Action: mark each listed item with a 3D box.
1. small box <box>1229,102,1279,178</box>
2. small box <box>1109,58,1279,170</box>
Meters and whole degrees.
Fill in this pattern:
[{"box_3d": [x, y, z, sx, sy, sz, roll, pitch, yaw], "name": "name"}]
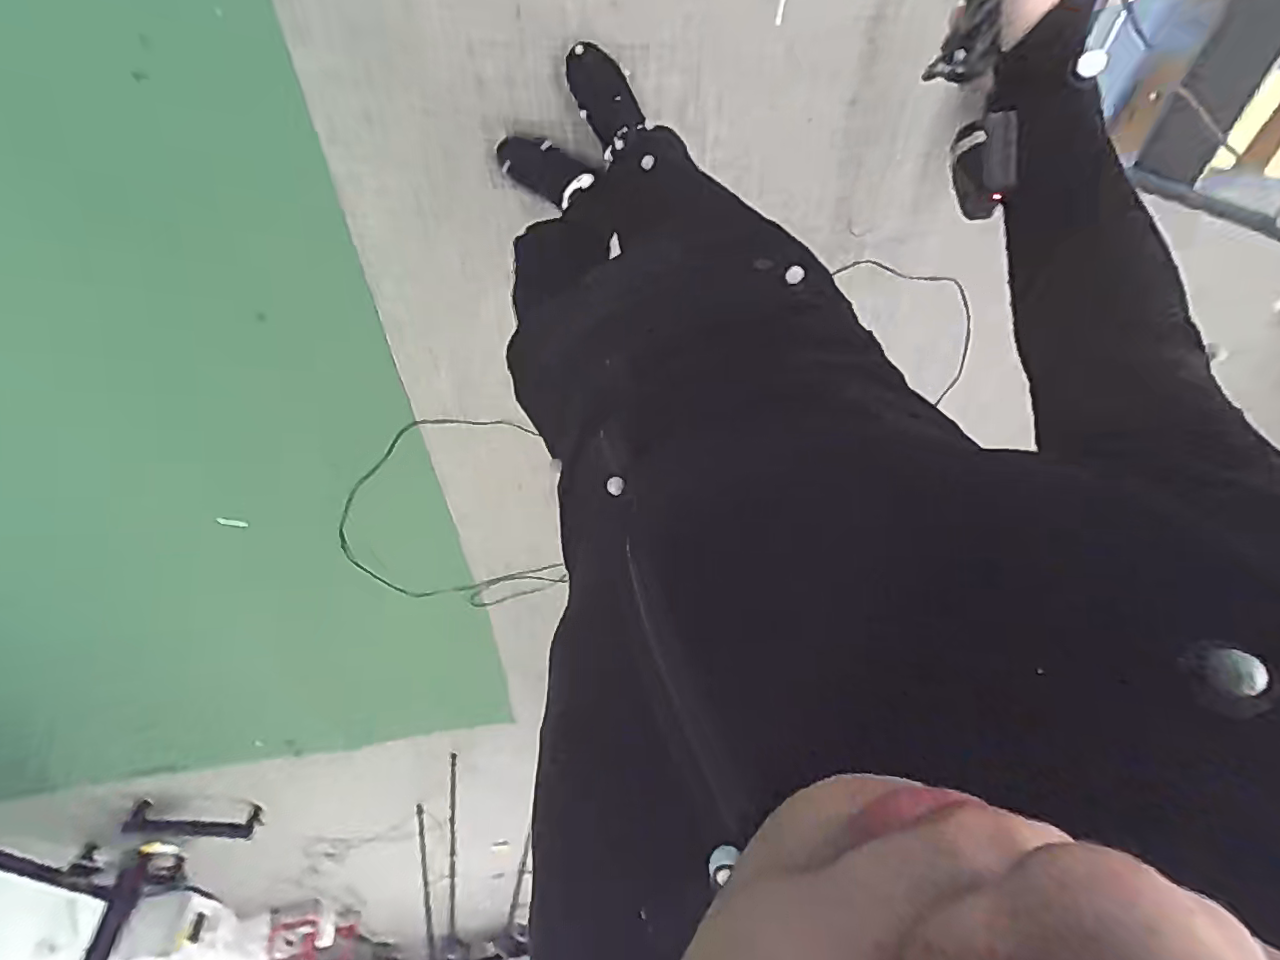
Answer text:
[{"box_3d": [1.428, -0.778, 1.196, 0.179, 0.176, 0.168, -3, 131, -9], "name": "small box"}, {"box_3d": [1.175, -0.778, 1.146, 0.179, 0.176, 0.168, 0, 131, -11], "name": "small box"}]
